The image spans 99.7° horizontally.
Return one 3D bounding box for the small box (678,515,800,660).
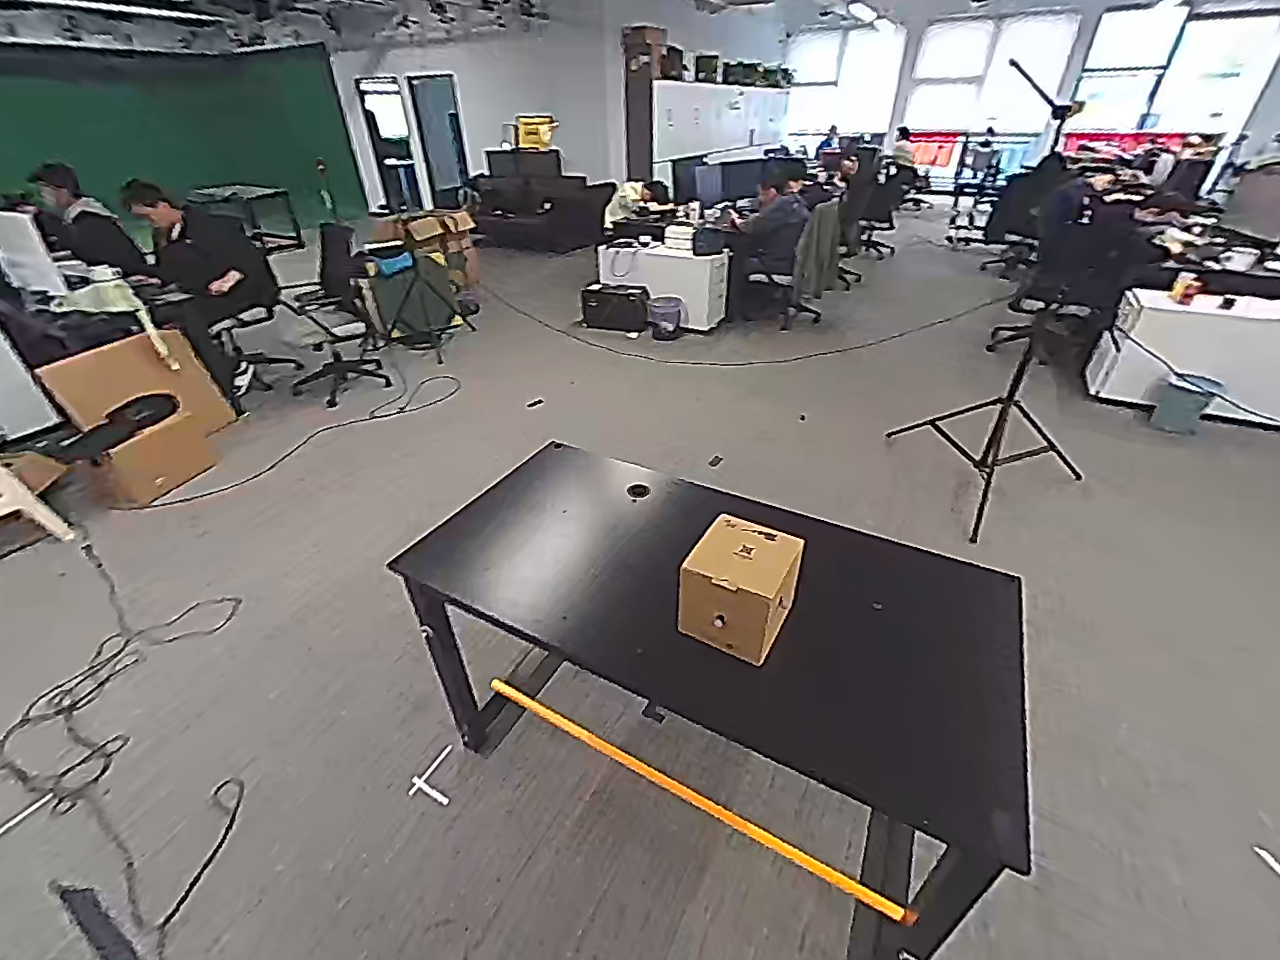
[{"bbox_3d":[0.182,0.197,1.001,0.168,0.176,0.179,17,39,26],"label":"small box"}]
